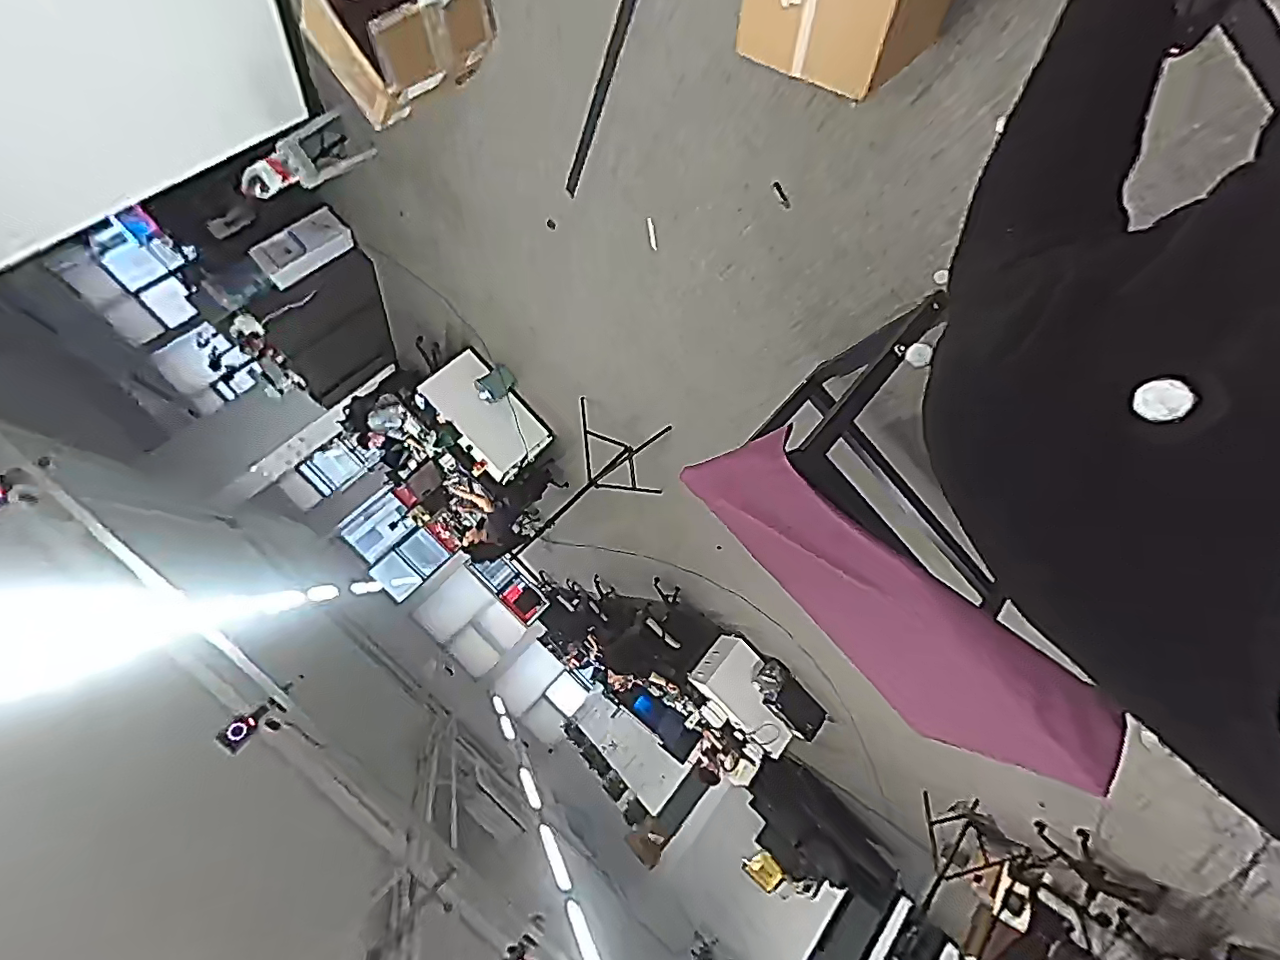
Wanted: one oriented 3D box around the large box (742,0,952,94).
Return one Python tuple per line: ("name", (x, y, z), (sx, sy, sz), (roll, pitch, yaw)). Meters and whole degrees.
("large box", (0.421, -1.029, 0.973), (0.320, 0.320, 0.408), (38, 160, 19))
